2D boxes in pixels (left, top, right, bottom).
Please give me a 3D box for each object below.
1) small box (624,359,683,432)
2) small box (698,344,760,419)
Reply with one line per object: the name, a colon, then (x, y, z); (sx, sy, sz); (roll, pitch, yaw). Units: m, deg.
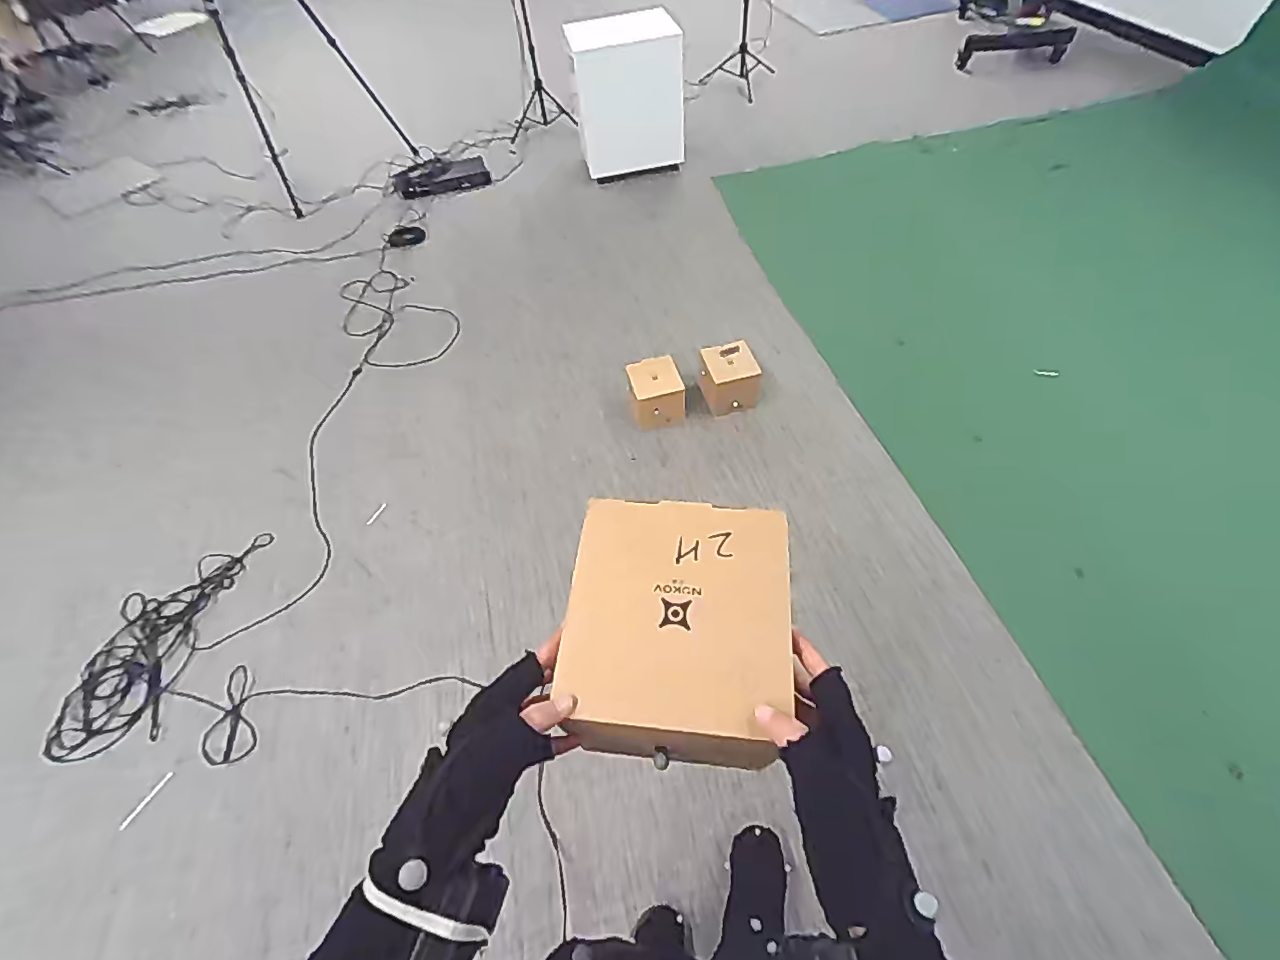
small box: (0.051, -0.288, 1.888); (0.168, 0.176, 0.179); (-15, 55, -6)
small box: (0.307, -0.346, 1.907); (0.168, 0.176, 0.179); (-14, 56, -5)
